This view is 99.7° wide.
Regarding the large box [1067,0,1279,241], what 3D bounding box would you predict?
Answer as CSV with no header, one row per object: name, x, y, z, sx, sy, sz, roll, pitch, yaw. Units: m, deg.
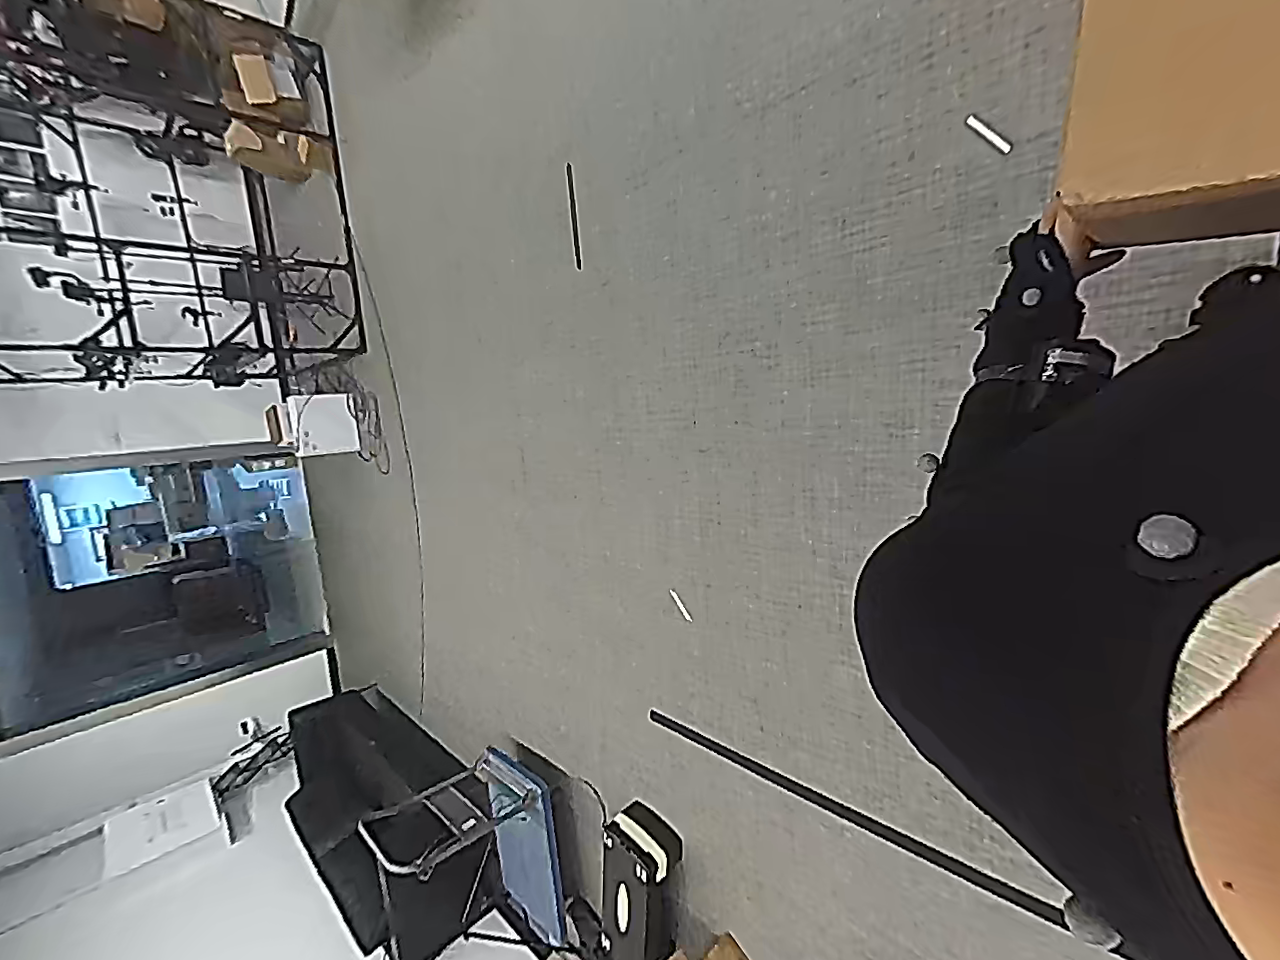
large box,0.439,-0.299,0.205,0.408,0.320,0.320,9,111,40
